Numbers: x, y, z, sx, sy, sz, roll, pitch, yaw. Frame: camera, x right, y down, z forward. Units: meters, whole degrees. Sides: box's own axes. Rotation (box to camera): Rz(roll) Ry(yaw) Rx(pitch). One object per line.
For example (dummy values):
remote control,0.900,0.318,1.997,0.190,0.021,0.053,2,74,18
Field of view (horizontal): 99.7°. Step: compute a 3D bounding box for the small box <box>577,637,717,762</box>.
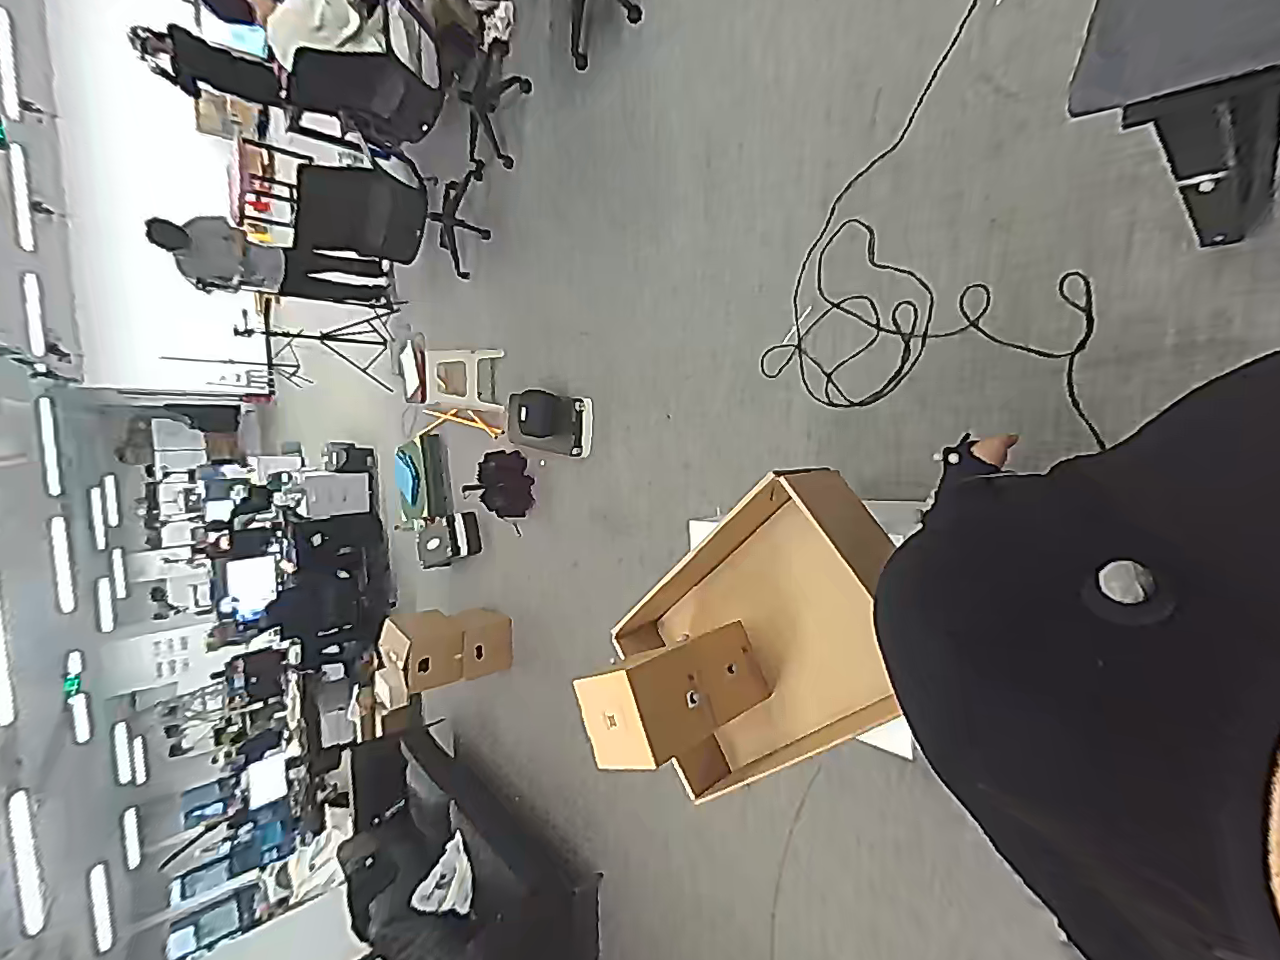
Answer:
small box,0.013,0.412,1.022,0.179,0.176,0.168,-32,73,44
